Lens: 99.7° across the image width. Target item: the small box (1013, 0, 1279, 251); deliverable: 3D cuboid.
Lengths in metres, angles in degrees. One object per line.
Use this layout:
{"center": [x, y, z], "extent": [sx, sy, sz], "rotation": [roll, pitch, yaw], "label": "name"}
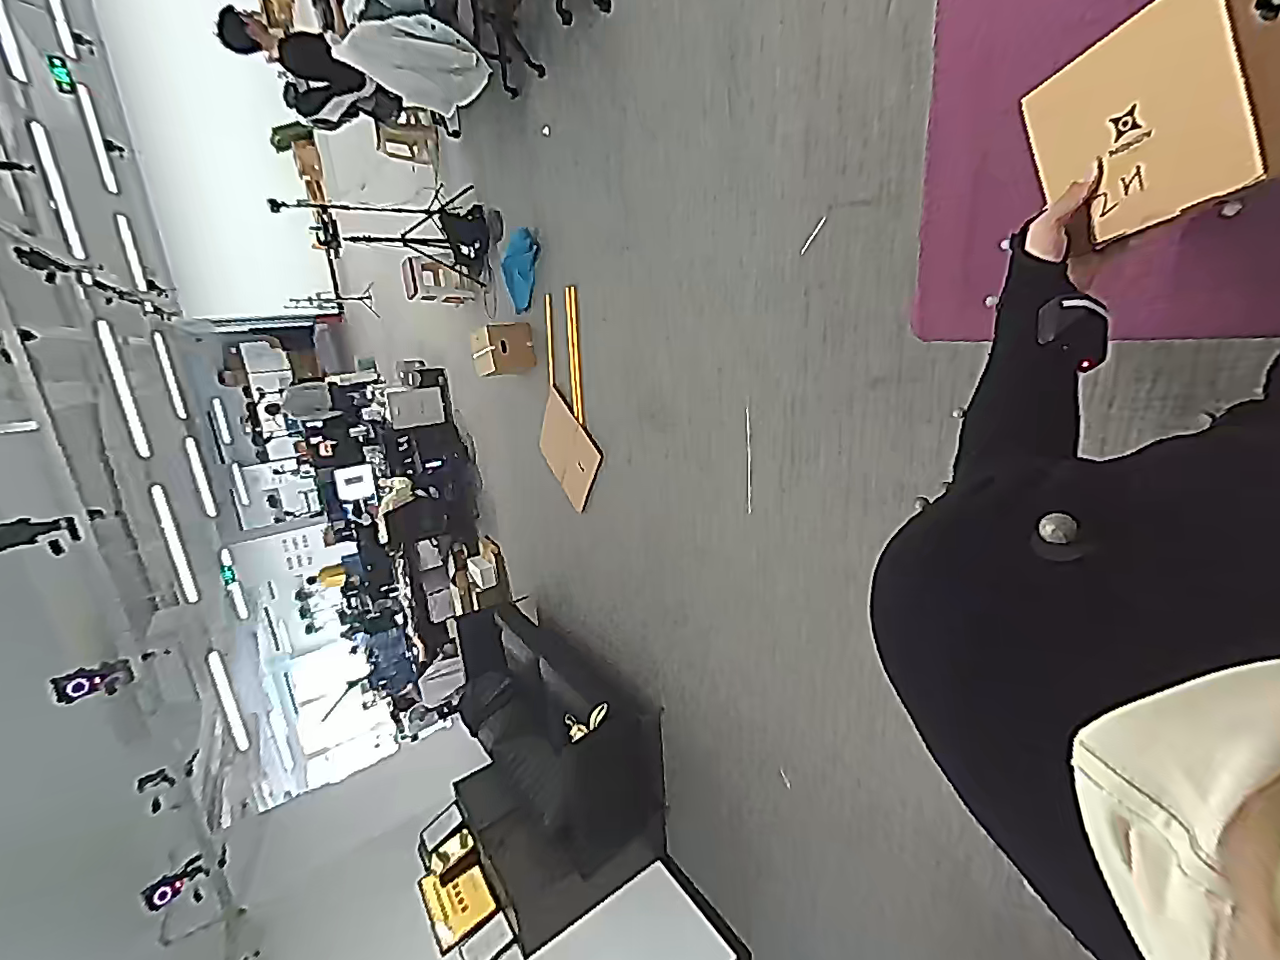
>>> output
{"center": [0.511, -0.350, 0.512], "extent": [0.168, 0.176, 0.179], "rotation": [-175, 64, -77], "label": "small box"}
